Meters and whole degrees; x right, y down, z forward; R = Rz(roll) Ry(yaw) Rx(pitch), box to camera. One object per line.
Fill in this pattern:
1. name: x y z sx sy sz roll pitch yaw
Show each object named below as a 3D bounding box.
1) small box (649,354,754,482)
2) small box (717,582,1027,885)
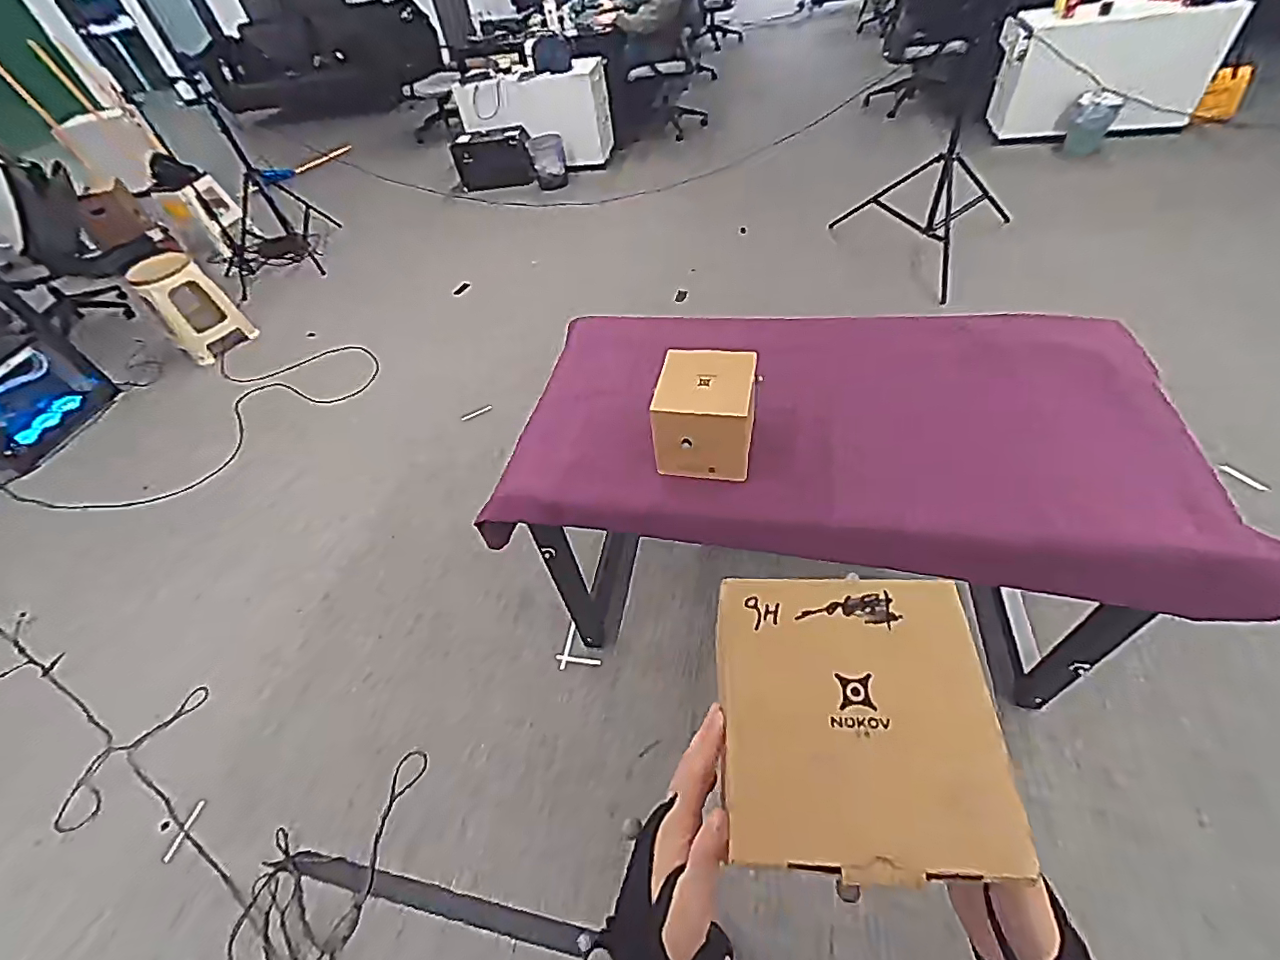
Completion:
1. small box: 0.122 -0.114 1.008 0.168 0.176 0.179 5 49 13
2. small box: 0.145 0.192 0.415 0.168 0.176 0.179 -1 56 6
